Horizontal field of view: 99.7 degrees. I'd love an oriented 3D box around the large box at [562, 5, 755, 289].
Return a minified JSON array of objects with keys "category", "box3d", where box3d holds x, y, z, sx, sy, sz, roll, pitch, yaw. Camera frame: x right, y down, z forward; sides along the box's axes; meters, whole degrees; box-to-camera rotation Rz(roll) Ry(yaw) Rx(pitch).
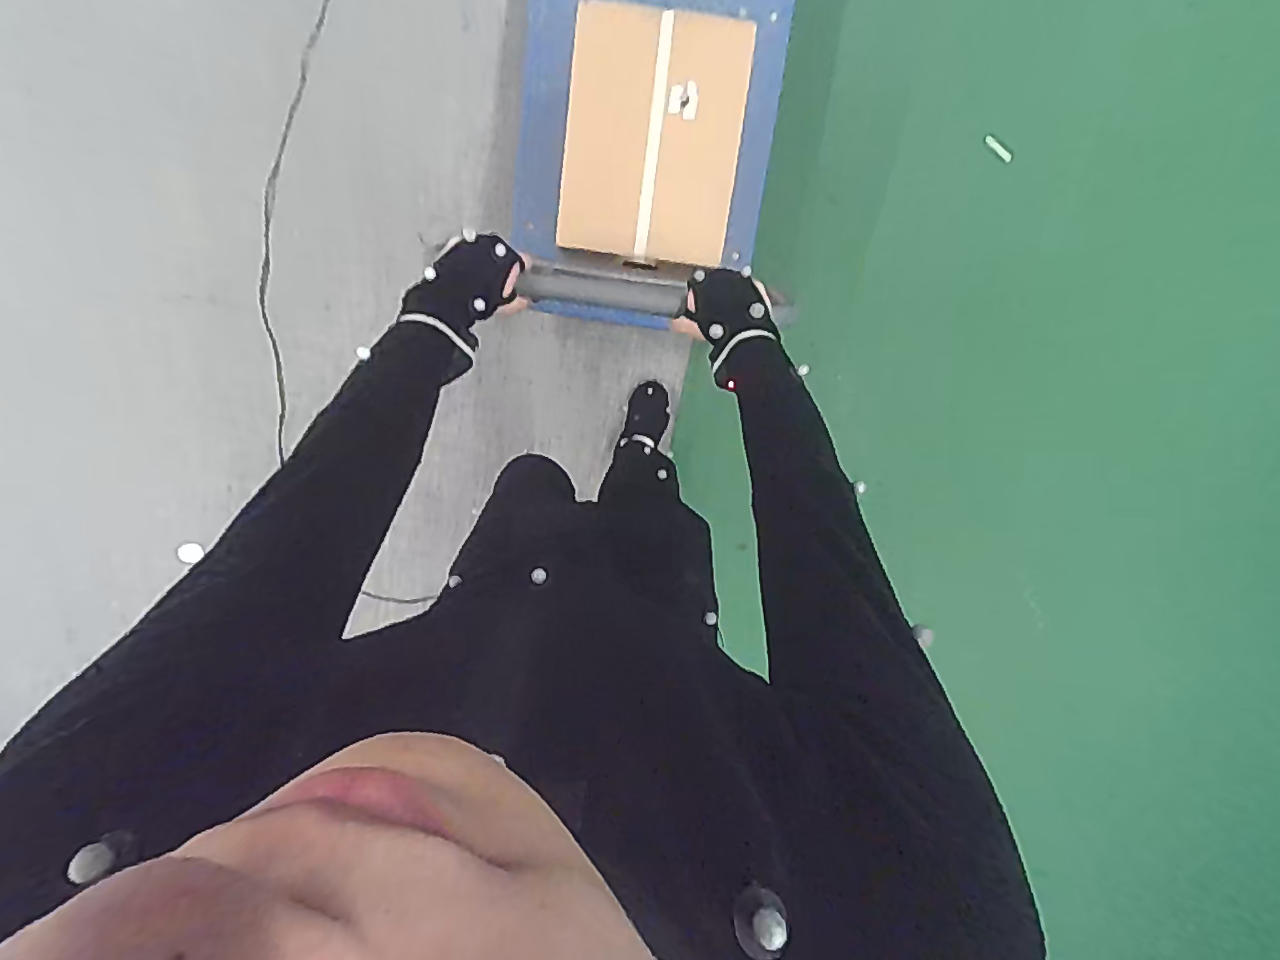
[{"category":"large box","box3d":[0.029,-0.638,1.119,0.320,0.320,0.408,7,101,-2]}]
